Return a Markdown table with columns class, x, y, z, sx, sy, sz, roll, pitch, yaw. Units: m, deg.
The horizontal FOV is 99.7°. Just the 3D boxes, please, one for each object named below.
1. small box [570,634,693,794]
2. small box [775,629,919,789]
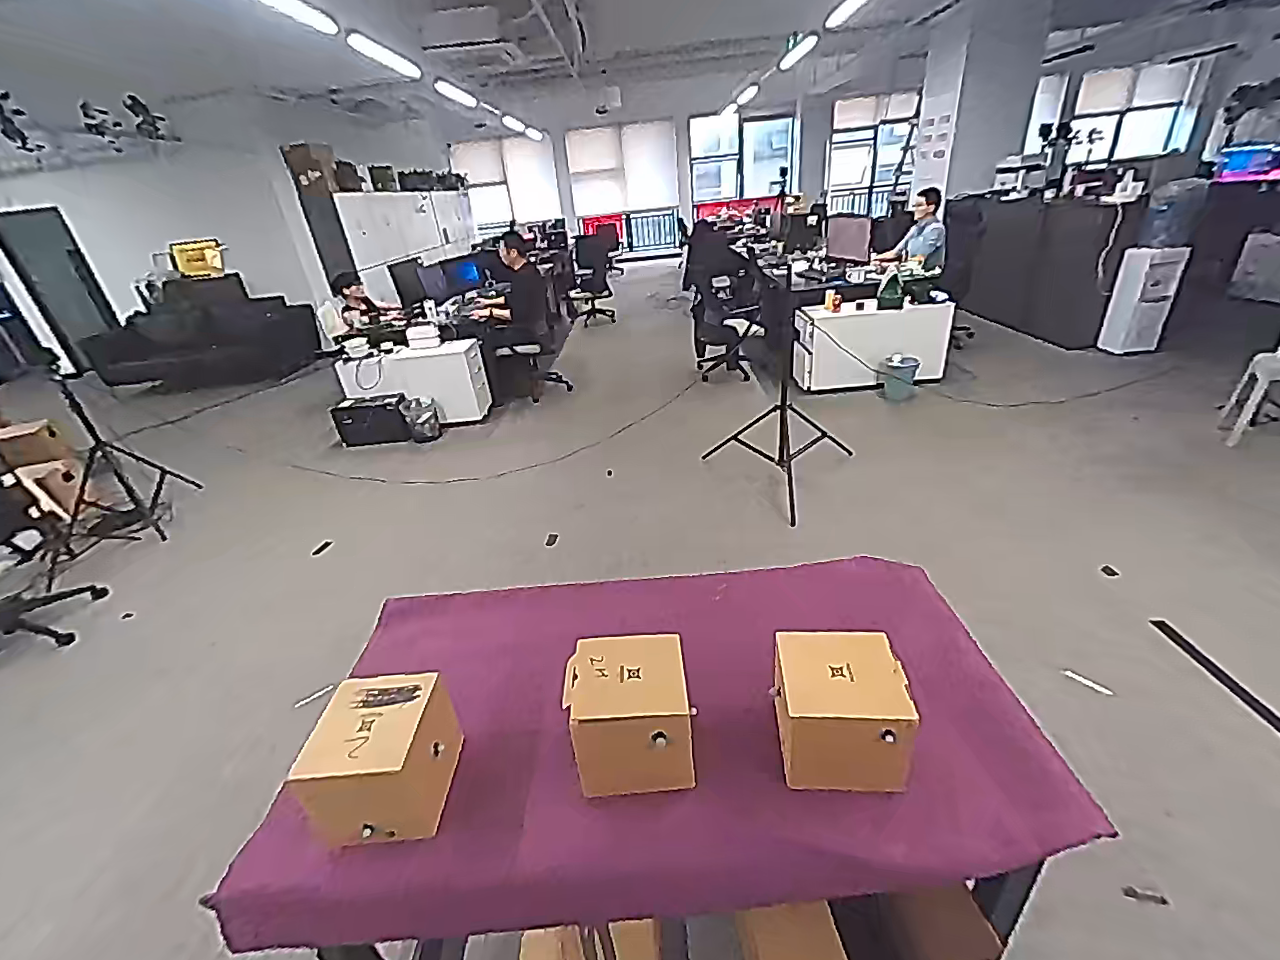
| class | x | y | z | sx | sy | sz | roll | pitch | yaw |
| --- | --- | --- | --- | --- | --- | --- | --- | --- | --- |
| small box | -0.008 | 0.375 | 0.872 | 0.179 | 0.176 | 0.168 | -6 | 26 | 1 |
| small box | 0.309 | 0.355 | 0.846 | 0.179 | 0.176 | 0.168 | -2 | 28 | 7 |
